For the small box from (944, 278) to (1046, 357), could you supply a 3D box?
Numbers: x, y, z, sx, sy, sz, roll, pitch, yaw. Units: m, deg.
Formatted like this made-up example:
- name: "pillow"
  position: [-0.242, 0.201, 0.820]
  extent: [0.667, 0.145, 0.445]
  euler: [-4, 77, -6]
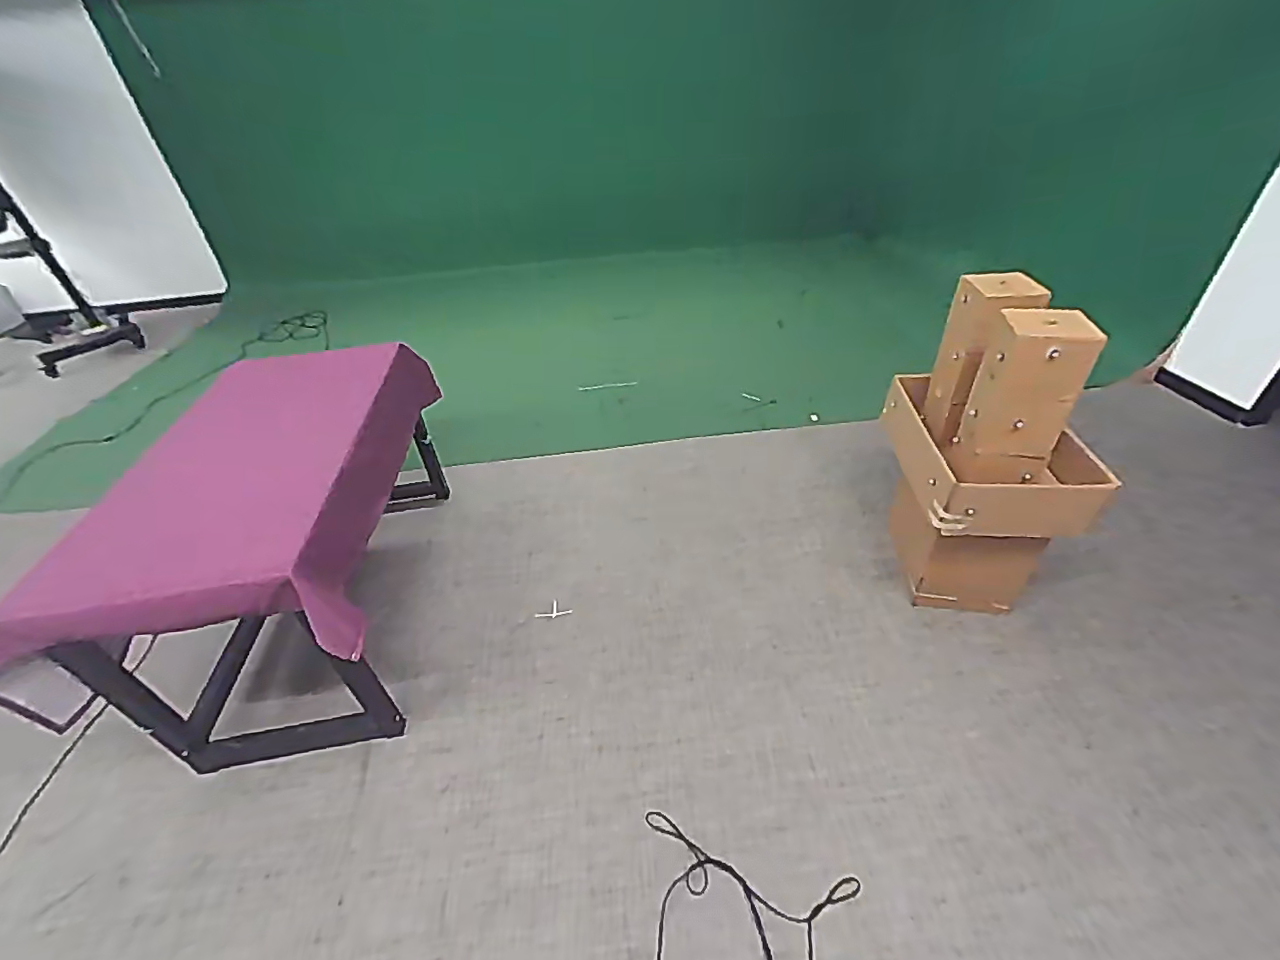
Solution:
- name: "small box"
  position: [1.005, -0.465, 1.553]
  extent: [0.168, 0.176, 0.179]
  euler: [-1, 39, 5]

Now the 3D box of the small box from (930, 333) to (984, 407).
- name: "small box"
  position: [1.018, -0.338, 1.657]
  extent: [0.168, 0.176, 0.179]
  euler: [0, 39, 6]

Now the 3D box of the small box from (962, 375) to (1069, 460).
- name: "small box"
  position: [0.981, -0.166, 1.436]
  extent: [0.179, 0.176, 0.168]
  euler: [4, 39, 12]

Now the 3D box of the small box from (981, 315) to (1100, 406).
- name: "small box"
  position: [0.971, -0.296, 1.336]
  extent: [0.179, 0.176, 0.168]
  euler: [6, 40, 12]
